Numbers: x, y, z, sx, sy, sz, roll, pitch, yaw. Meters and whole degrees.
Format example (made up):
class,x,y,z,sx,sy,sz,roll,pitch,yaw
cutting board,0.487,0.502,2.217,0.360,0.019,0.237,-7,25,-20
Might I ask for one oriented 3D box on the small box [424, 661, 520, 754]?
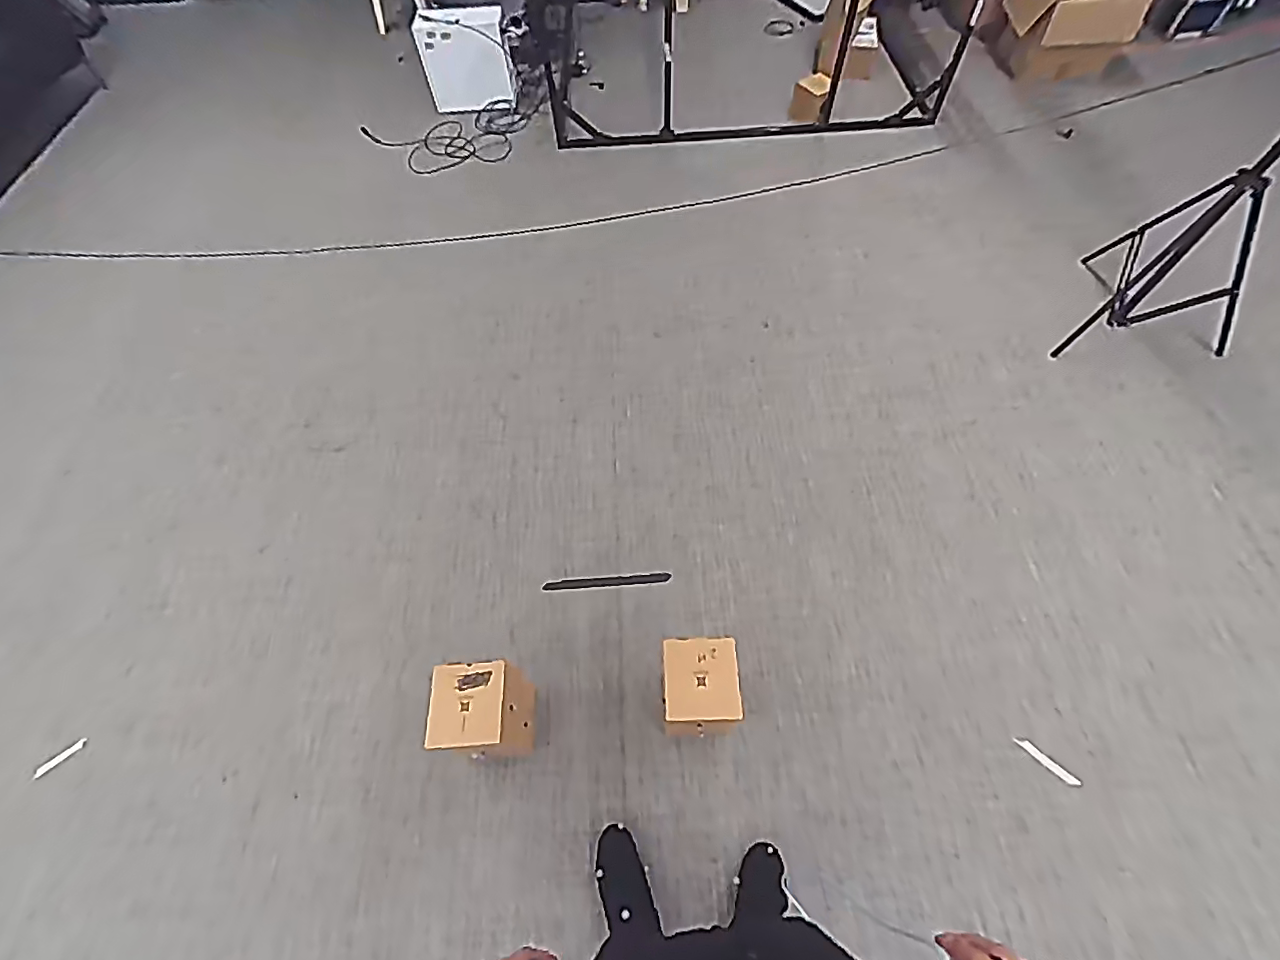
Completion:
class,x,y,z,sx,sy,sz,roll,pitch,yaw
small box,-0.381,0.533,1.261,0.168,0.176,0.179,-4,60,1

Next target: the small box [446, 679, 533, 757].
class,x,y,z,sx,sy,sz,roll,pitch,yaw
small box,-0.380,0.618,1.401,0.179,0.176,0.168,-5,60,1

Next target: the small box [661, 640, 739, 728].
class,x,y,z,sx,sy,sz,roll,pitch,yaw
small box,0.135,0.482,1.268,0.168,0.176,0.179,-1,60,1
